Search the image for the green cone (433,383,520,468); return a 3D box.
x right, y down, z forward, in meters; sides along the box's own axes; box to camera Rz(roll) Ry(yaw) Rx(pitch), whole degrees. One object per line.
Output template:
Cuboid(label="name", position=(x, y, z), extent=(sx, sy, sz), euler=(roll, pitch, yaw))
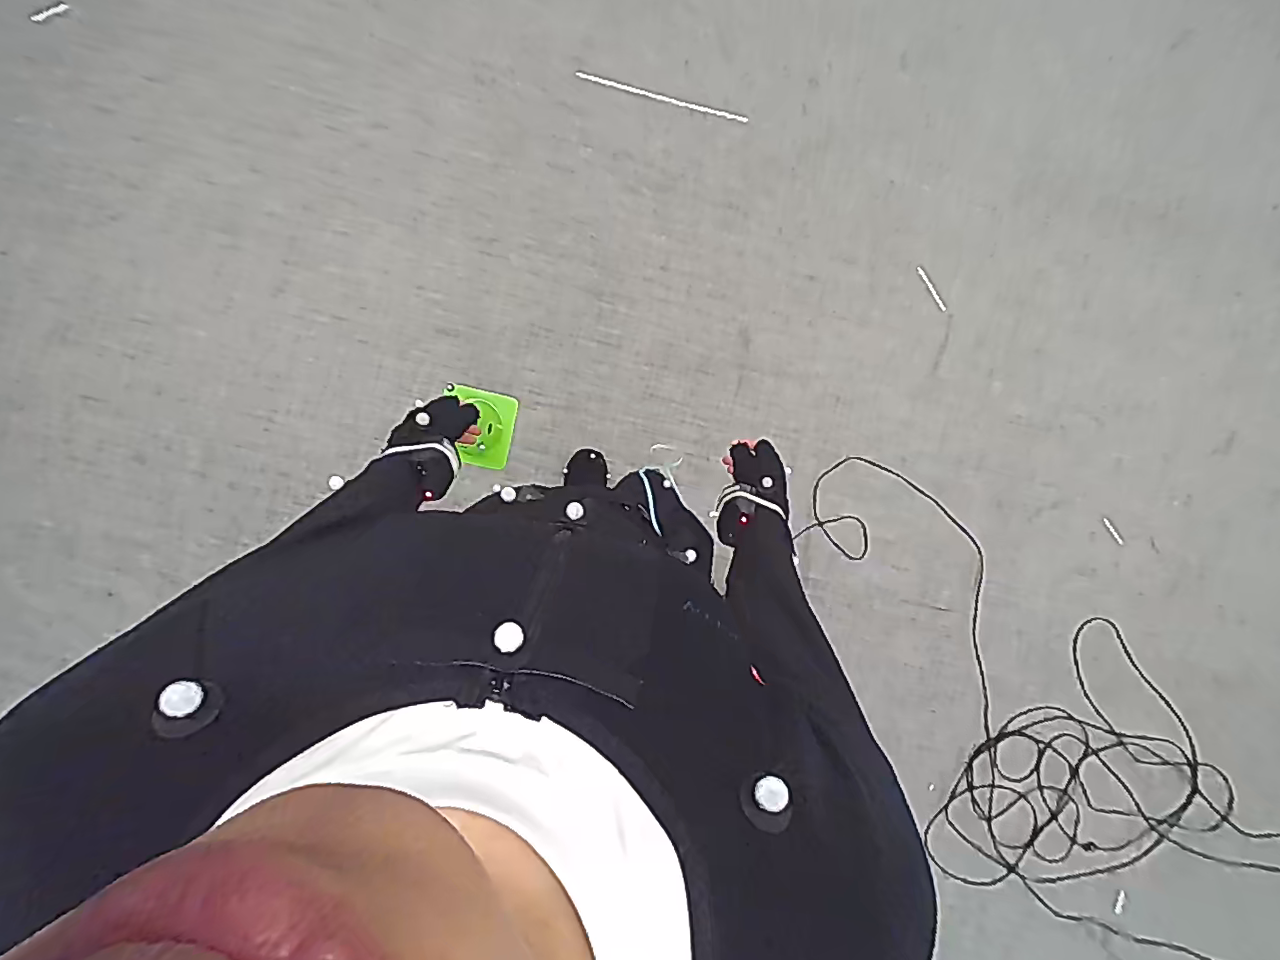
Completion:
Cuboid(label="green cone", position=(-0.421, -0.140, 1.275), extent=(0.202, 0.368, 0.200), euler=(12, 91, -5))

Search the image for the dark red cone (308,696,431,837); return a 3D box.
Cuboid(label="dark red cone", position=(-0.648, 0.676, 1.255), extent=(0.202, 0.394, 0.201), euler=(8, 92, -3))
